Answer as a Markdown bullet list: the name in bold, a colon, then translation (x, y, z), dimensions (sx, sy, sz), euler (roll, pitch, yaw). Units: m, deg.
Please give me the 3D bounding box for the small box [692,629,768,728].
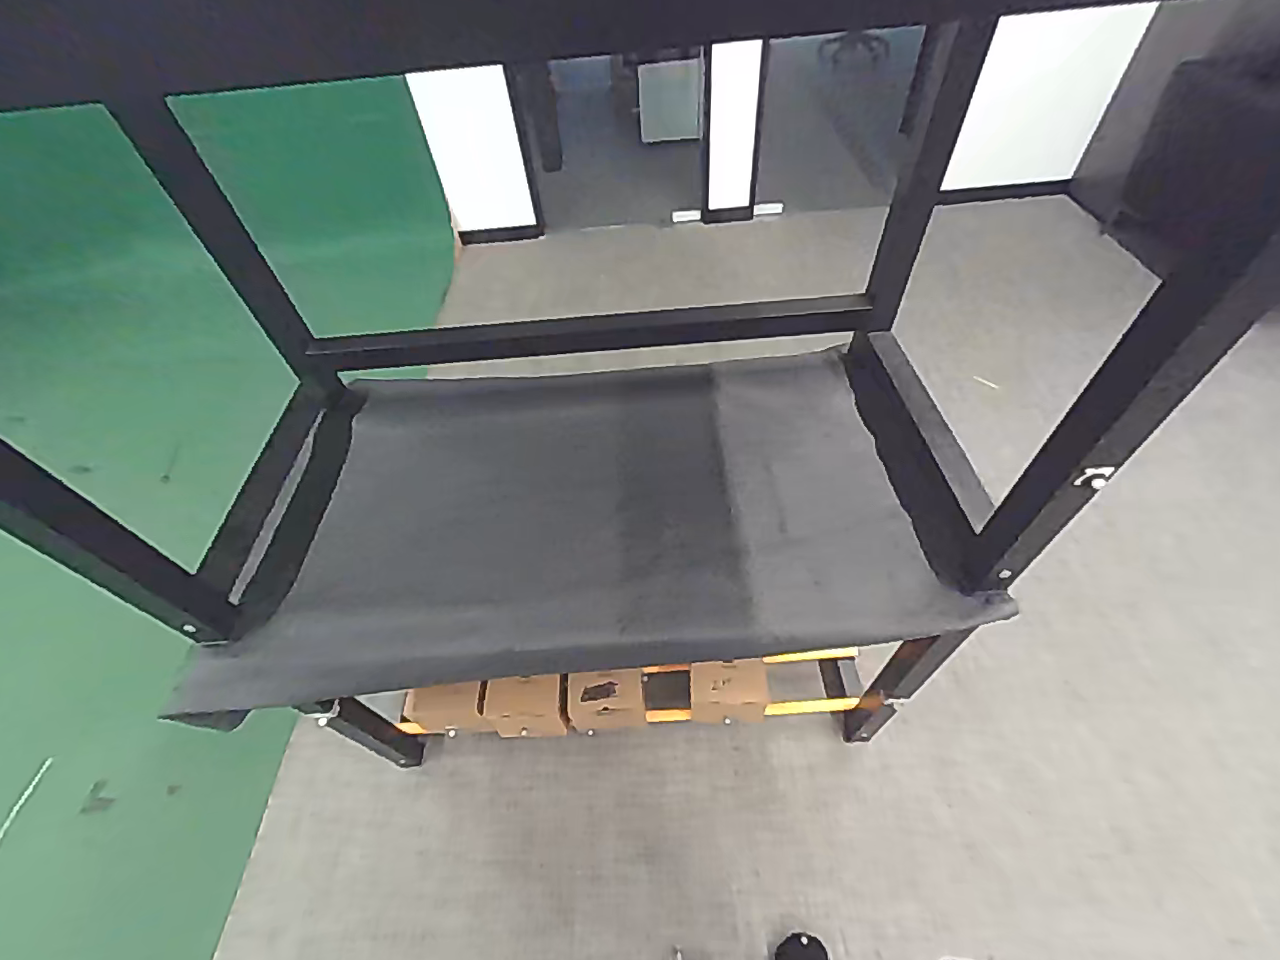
- **small box**: translation (0.206, 0.470, 1.280), dimensions (0.168, 0.176, 0.179), euler (-1, 52, 6)
